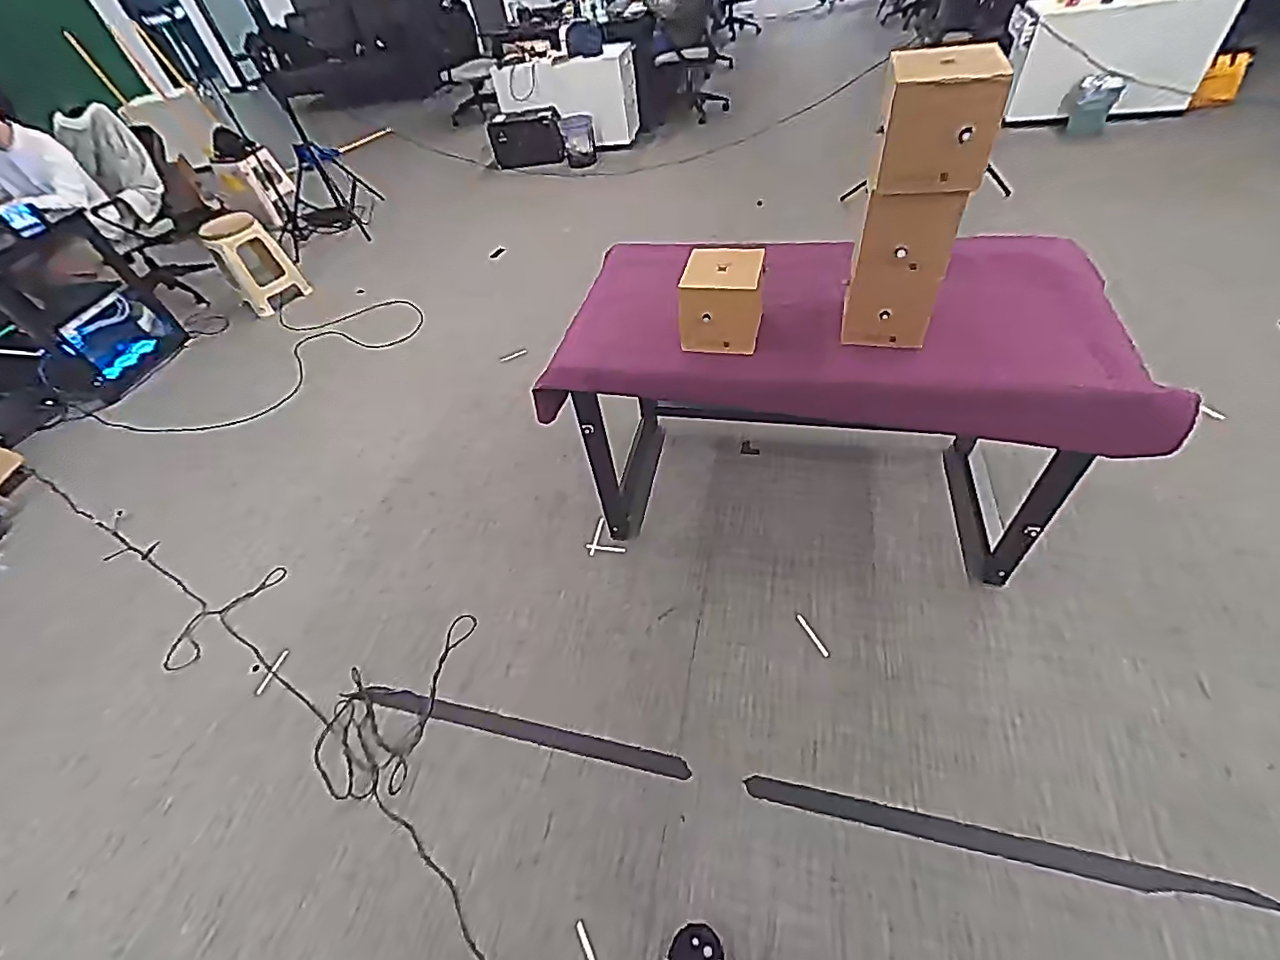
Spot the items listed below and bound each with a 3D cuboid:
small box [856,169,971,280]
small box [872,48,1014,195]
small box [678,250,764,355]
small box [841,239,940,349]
[{"bbox_3d":[0.524,-0.516,1.058,0.168,0.176,0.179,8,51,16],"label":"small box"},{"bbox_3d":[0.501,-0.605,0.923,0.168,0.176,0.179,6,50,13],"label":"small box"},{"bbox_3d":[0.189,-0.403,1.235,0.168,0.176,0.179,7,49,14],"label":"small box"},{"bbox_3d":[0.540,-0.406,1.179,0.168,0.176,0.179,8,51,16],"label":"small box"}]
